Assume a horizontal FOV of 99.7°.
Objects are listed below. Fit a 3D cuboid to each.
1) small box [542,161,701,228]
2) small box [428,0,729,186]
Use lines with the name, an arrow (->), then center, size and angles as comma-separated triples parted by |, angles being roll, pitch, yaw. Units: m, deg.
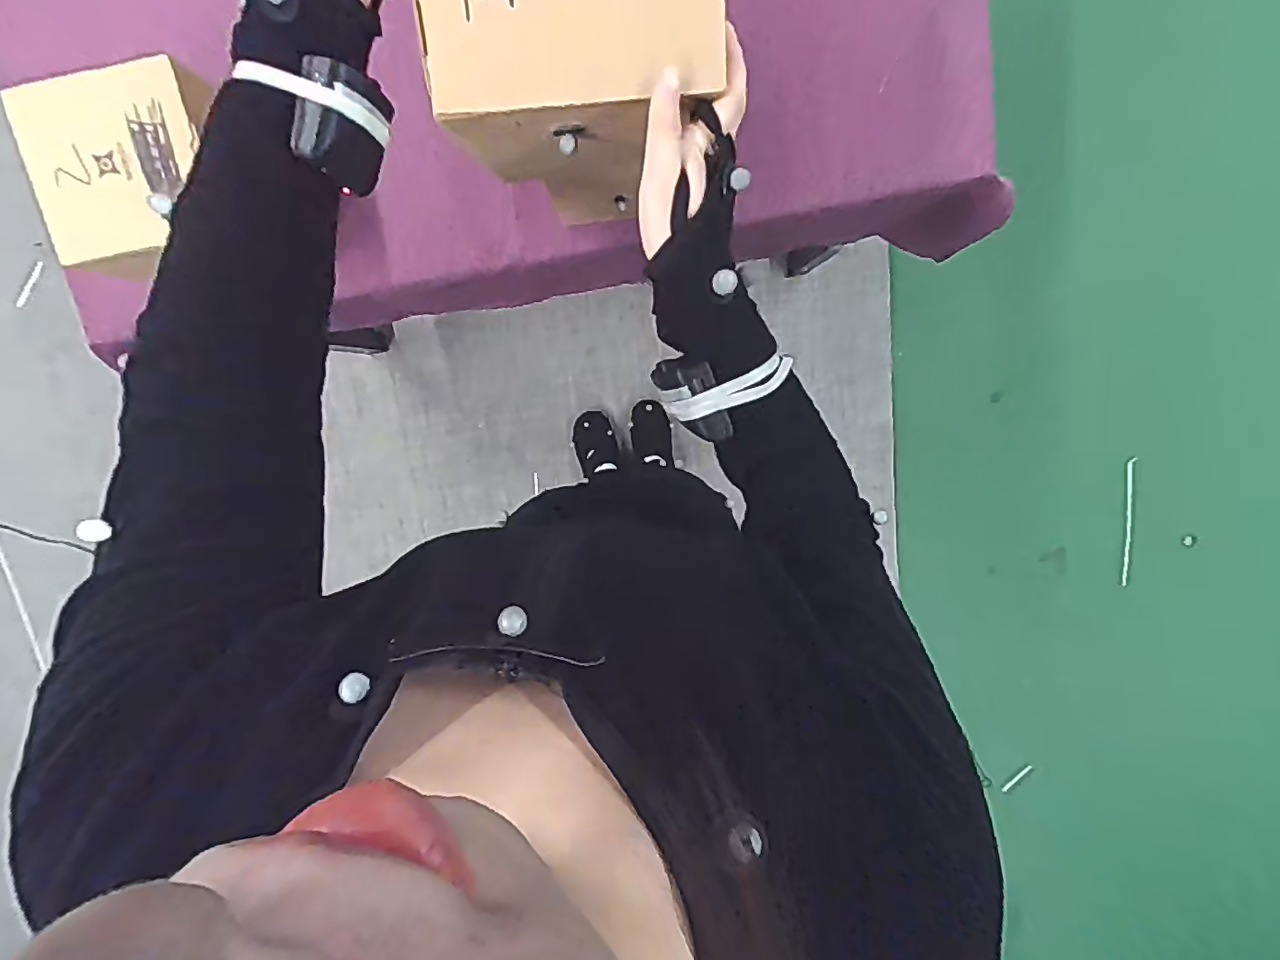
small box -> -0.027, -0.398, 0.608 | 0.168, 0.176, 0.179 | -7, 100, 0
small box -> -0.035, -0.318, 0.379 | 0.179, 0.176, 0.168 | -3, 107, 1
